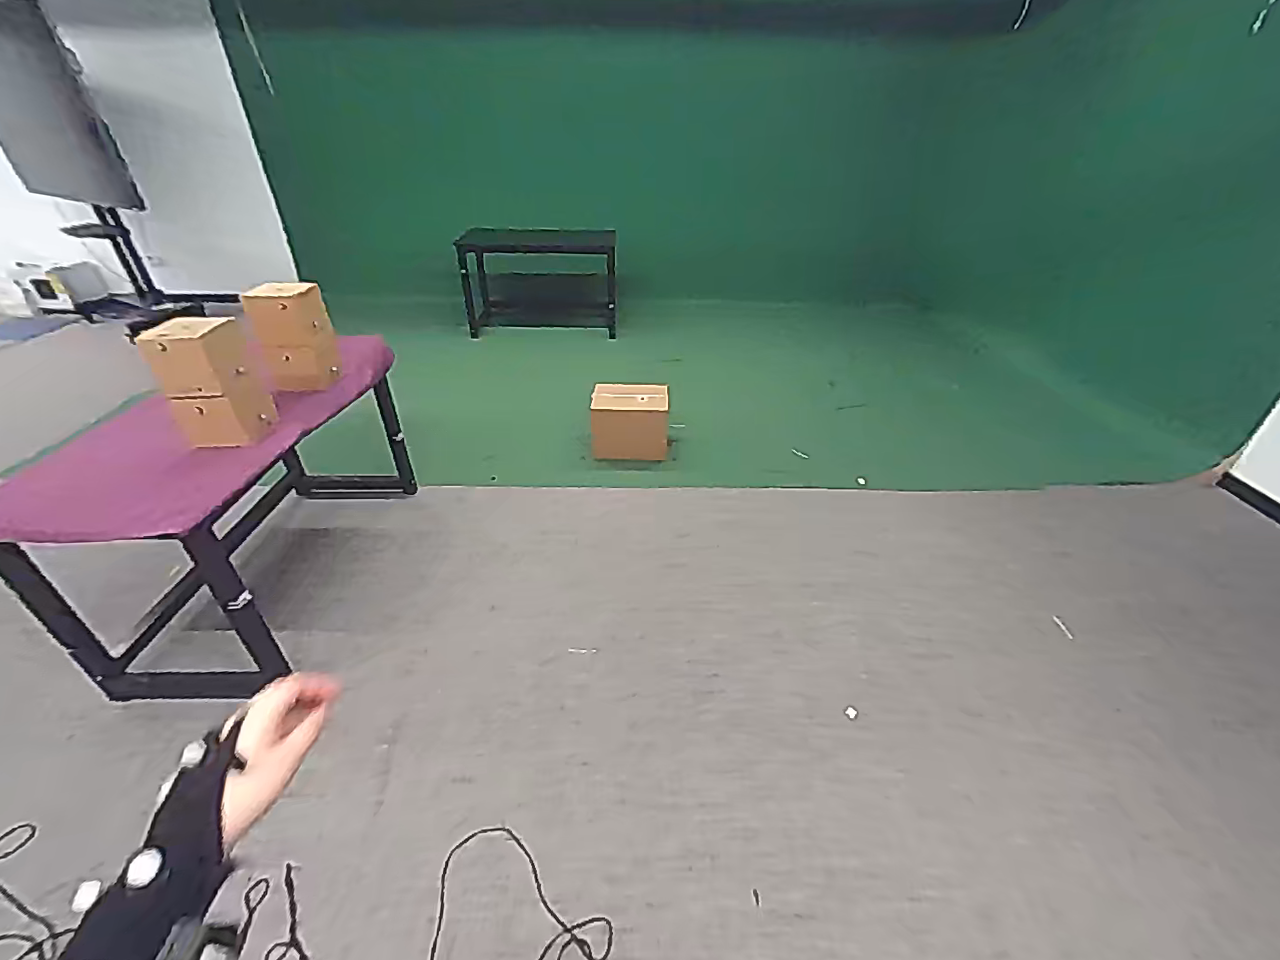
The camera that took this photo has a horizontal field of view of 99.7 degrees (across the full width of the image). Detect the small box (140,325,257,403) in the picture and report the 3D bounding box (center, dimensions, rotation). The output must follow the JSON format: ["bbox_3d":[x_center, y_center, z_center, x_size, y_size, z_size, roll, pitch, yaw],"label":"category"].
[{"bbox_3d":[-1.222,-0.327,1.519,0.168,0.176,0.179,-3,33,0],"label":"small box"}]

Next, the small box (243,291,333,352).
[{"bbox_3d":[-1.196,-0.542,1.852,0.179,0.176,0.168,0,34,0],"label":"small box"}]

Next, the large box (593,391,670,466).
[{"bbox_3d":[-0.044,-0.282,2.957,0.408,0.320,0.320,2,34,1],"label":"large box"}]

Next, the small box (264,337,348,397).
[{"bbox_3d":[-1.190,-0.406,1.940,0.179,0.176,0.168,0,34,0],"label":"small box"}]

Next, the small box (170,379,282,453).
[{"bbox_3d":[-1.221,-0.190,1.610,0.179,0.176,0.168,-2,34,-1],"label":"small box"}]
